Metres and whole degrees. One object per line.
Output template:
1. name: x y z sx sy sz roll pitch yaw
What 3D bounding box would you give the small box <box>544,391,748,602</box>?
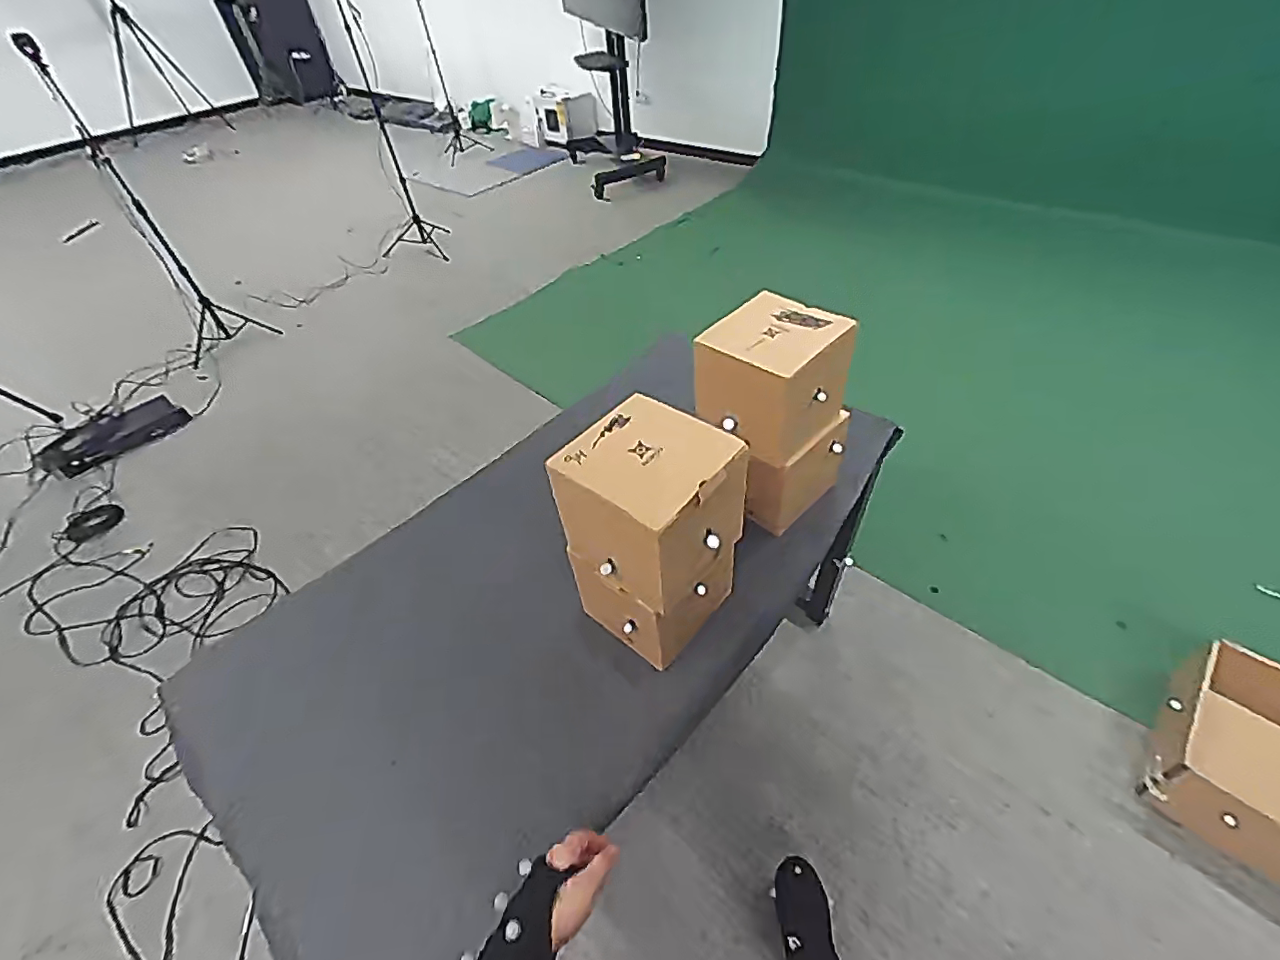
1. small box: 0.012 0.025 0.671 0.179 0.176 0.168 31 56 29

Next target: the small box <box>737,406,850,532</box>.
1. small box: 0.232 -0.046 0.942 0.179 0.176 0.168 -37 52 -25

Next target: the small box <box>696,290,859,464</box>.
1. small box: 0.201 -0.158 0.825 0.179 0.176 0.168 -39 53 -26

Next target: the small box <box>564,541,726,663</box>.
1. small box: 0.017 0.133 0.796 0.168 0.176 0.179 30 55 29
